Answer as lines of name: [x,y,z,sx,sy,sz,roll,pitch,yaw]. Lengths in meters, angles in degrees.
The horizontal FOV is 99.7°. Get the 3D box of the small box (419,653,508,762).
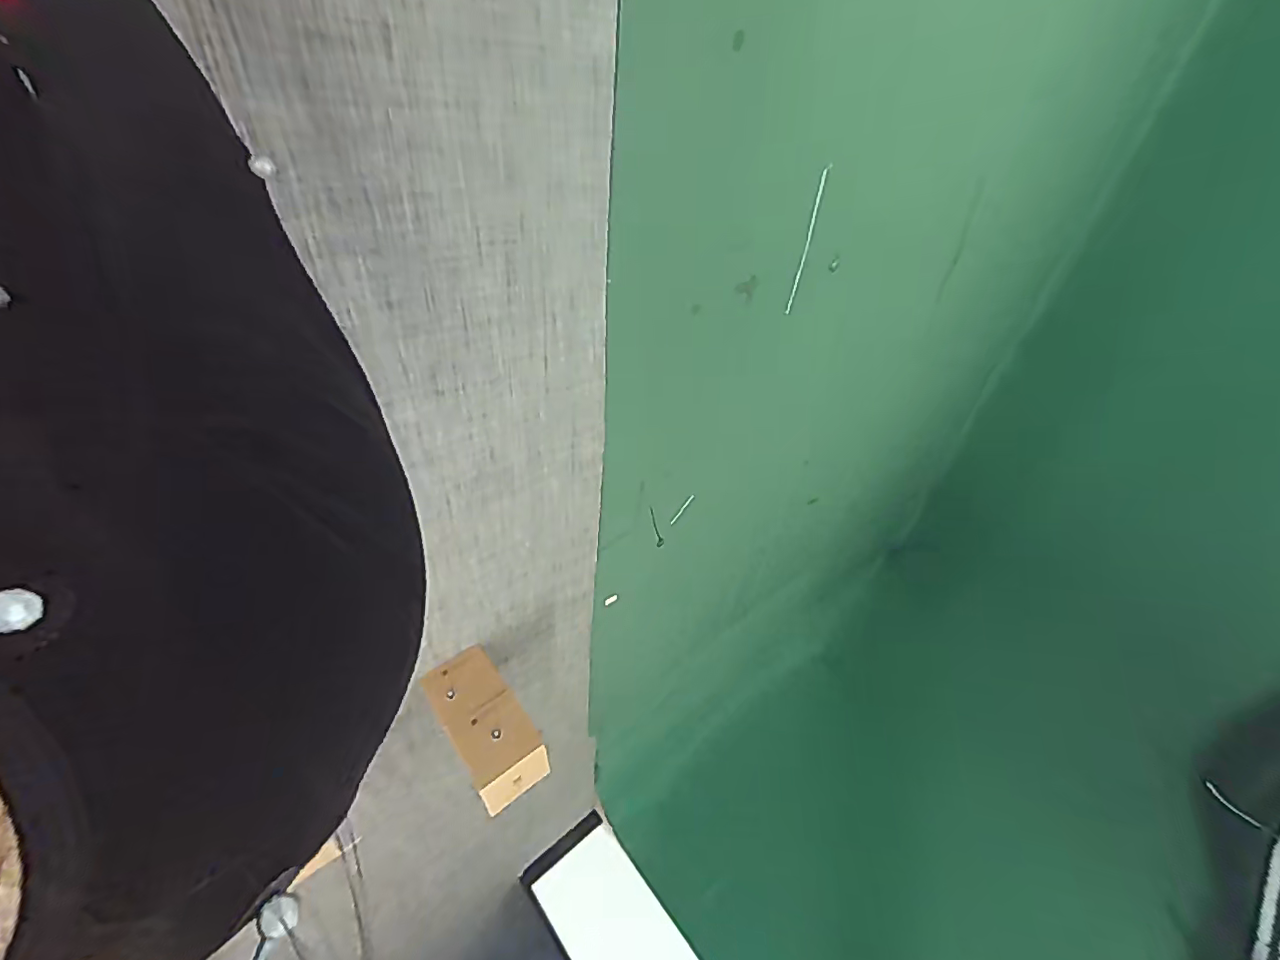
small box: [-0.451,0.577,1.399,0.168,0.176,0.179,-26,140,-30]

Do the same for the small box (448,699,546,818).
small box: [-0.345,0.662,1.306,0.168,0.176,0.179,-26,140,-29]
